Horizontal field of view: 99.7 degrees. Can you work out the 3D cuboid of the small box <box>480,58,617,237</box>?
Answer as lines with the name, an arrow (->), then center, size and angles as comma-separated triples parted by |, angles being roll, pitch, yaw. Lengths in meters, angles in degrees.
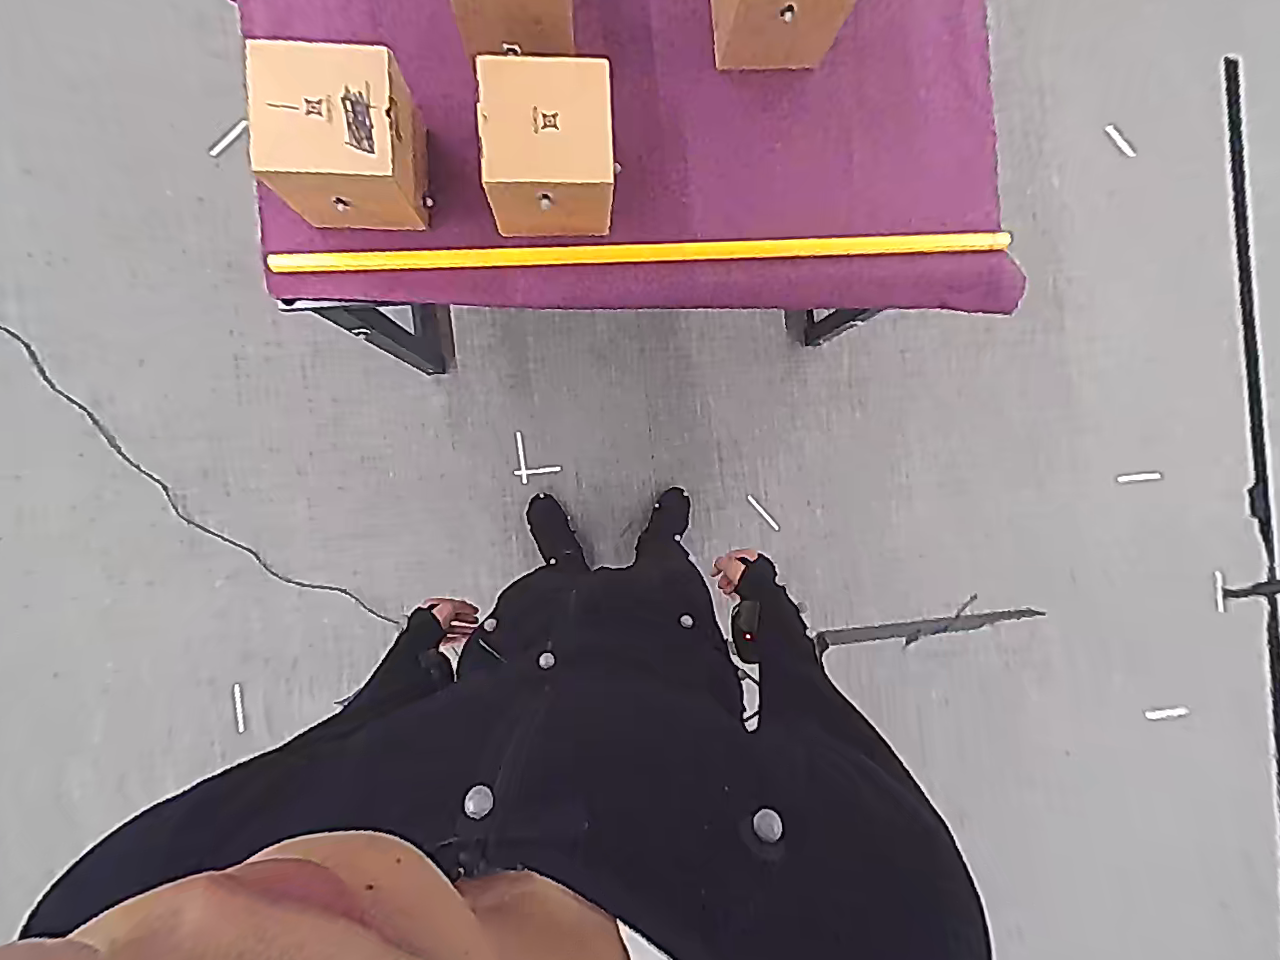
small box -> -0.128, -0.474, 0.795 | 0.179, 0.176, 0.168 | -3, 92, -4

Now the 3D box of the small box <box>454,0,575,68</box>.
small box -> -0.187, -0.738, 0.782 | 0.168, 0.176, 0.179 | -7, 93, -4

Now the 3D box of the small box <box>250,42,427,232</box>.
small box -> -0.410, -0.469, 0.766 | 0.179, 0.176, 0.168 | -1, 92, -5

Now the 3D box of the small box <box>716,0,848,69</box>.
small box -> 0.212, -0.760, 0.816 | 0.179, 0.176, 0.168 | -5, 94, -5
